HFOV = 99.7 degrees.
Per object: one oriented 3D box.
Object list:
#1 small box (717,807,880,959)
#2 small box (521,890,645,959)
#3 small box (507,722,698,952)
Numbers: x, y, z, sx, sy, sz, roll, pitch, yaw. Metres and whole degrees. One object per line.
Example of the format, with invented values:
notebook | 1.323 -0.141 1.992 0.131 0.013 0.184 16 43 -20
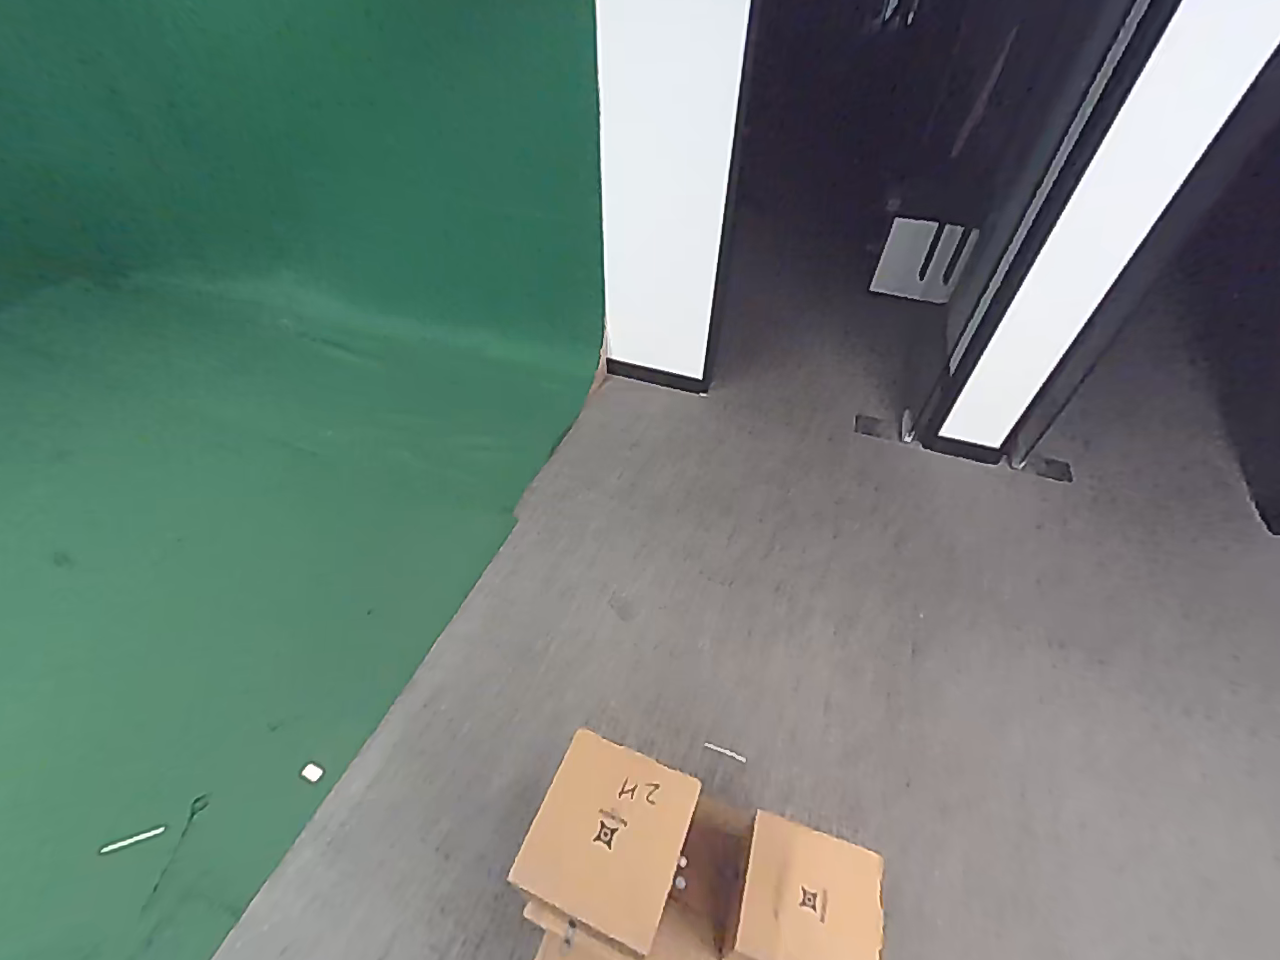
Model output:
small box | 0.219 0.600 0.763 0.179 0.176 0.168 14 47 14
small box | -0.049 0.565 0.786 0.168 0.176 0.179 18 49 13
small box | -0.039 0.445 0.673 0.168 0.176 0.179 20 49 14
